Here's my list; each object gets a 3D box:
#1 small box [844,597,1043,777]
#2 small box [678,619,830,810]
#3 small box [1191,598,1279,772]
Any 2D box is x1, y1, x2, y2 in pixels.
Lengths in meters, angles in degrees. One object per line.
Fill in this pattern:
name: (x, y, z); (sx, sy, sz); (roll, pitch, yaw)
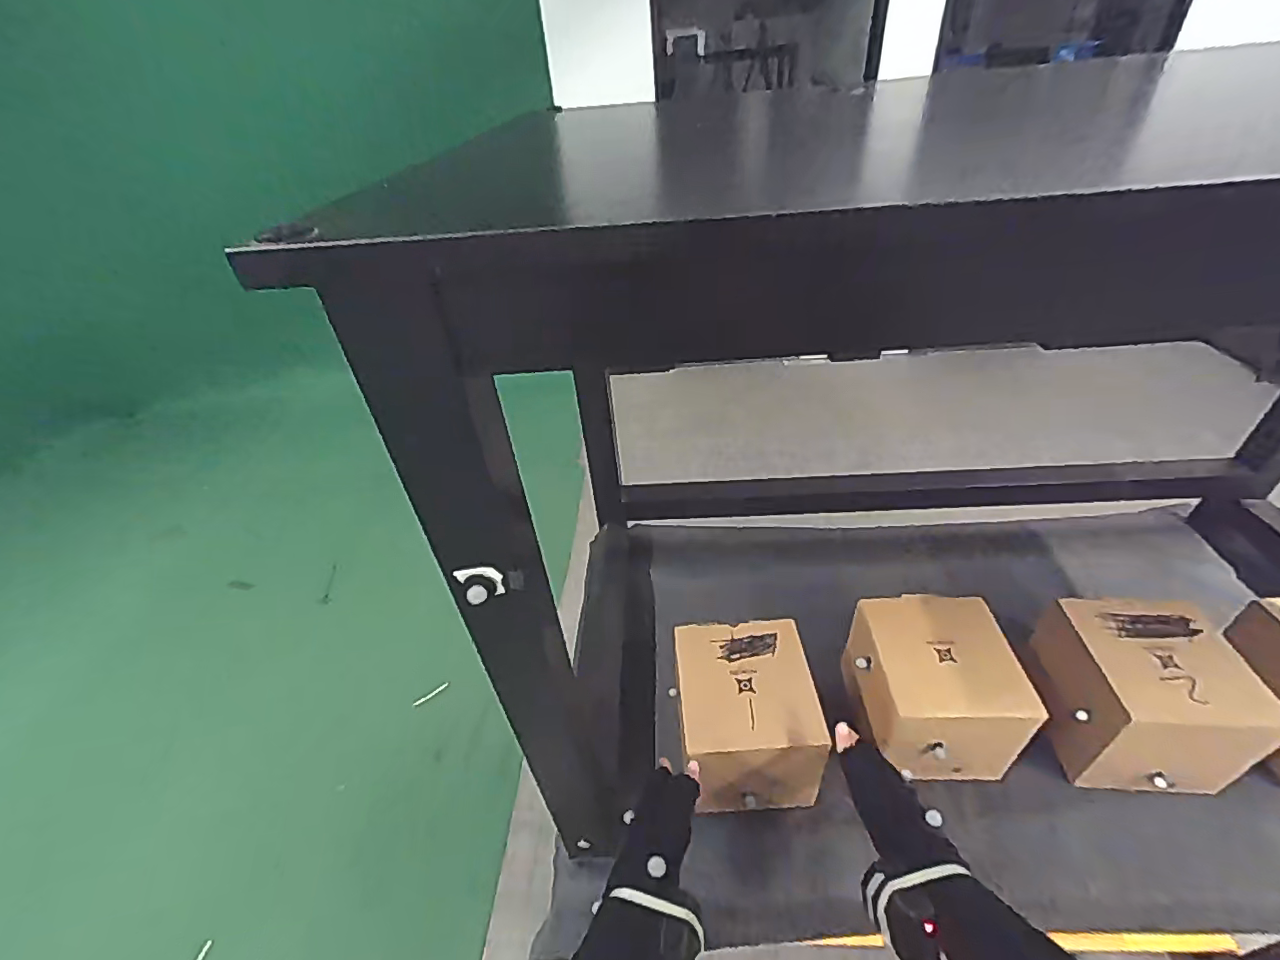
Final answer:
small box: (0.391, 0.281, 0.735); (0.168, 0.176, 0.179); (-2, 37, 5)
small box: (0.138, 0.312, 0.726); (0.168, 0.176, 0.179); (-5, 39, 2)
small box: (0.880, 0.268, 0.680); (0.168, 0.176, 0.179); (-2, 37, 4)
